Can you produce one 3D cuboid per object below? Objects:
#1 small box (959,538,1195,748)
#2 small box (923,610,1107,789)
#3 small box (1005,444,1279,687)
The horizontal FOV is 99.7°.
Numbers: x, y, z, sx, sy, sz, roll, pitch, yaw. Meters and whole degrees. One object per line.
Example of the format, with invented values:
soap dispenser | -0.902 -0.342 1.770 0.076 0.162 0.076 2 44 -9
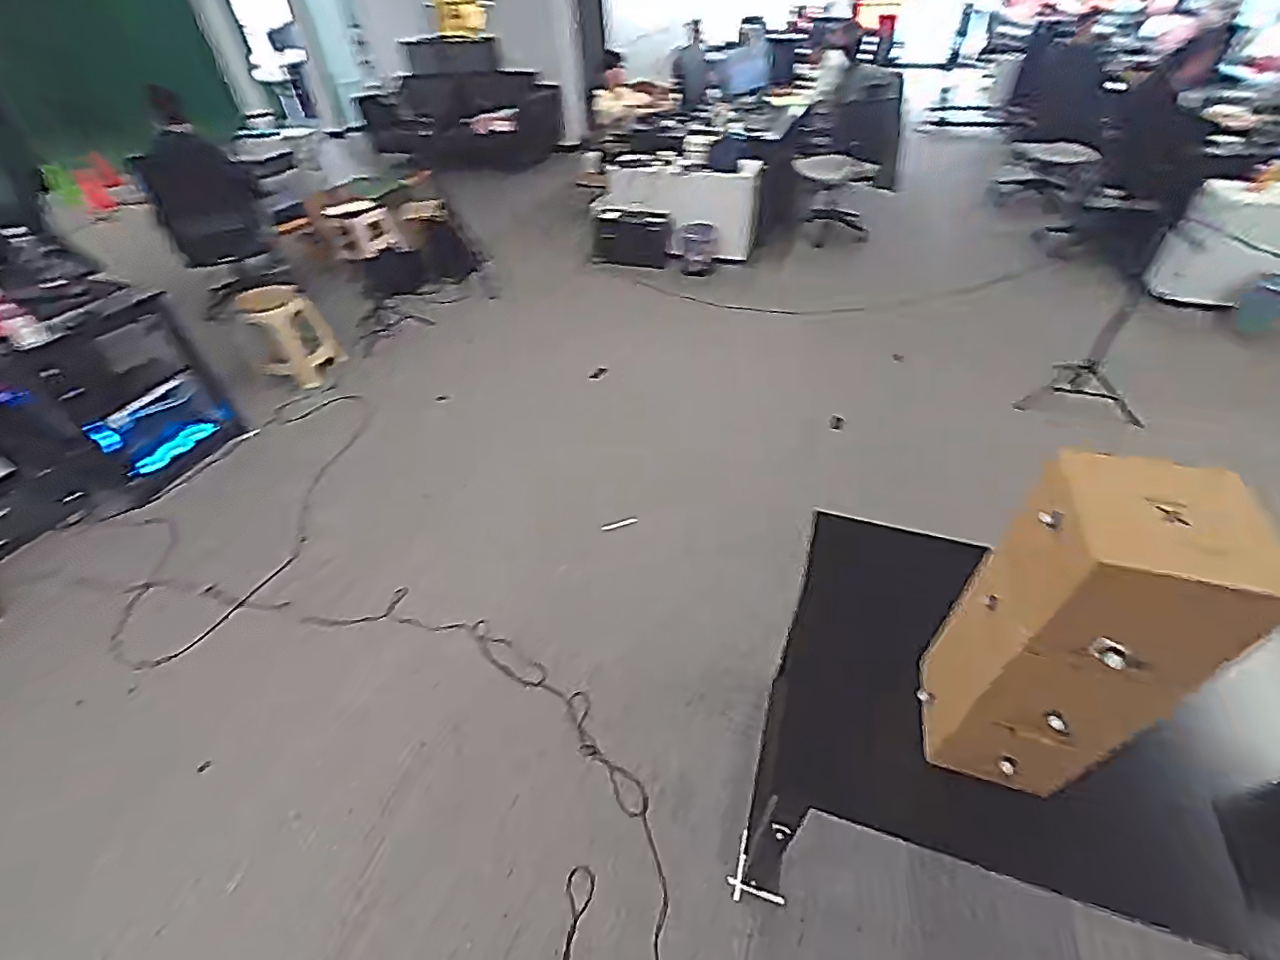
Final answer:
small box | 0.532 0.207 0.695 0.168 0.176 0.179 10 45 15
small box | 0.538 0.328 0.807 0.168 0.176 0.179 10 45 14
small box | 0.525 0.088 0.583 0.168 0.176 0.179 10 45 15
